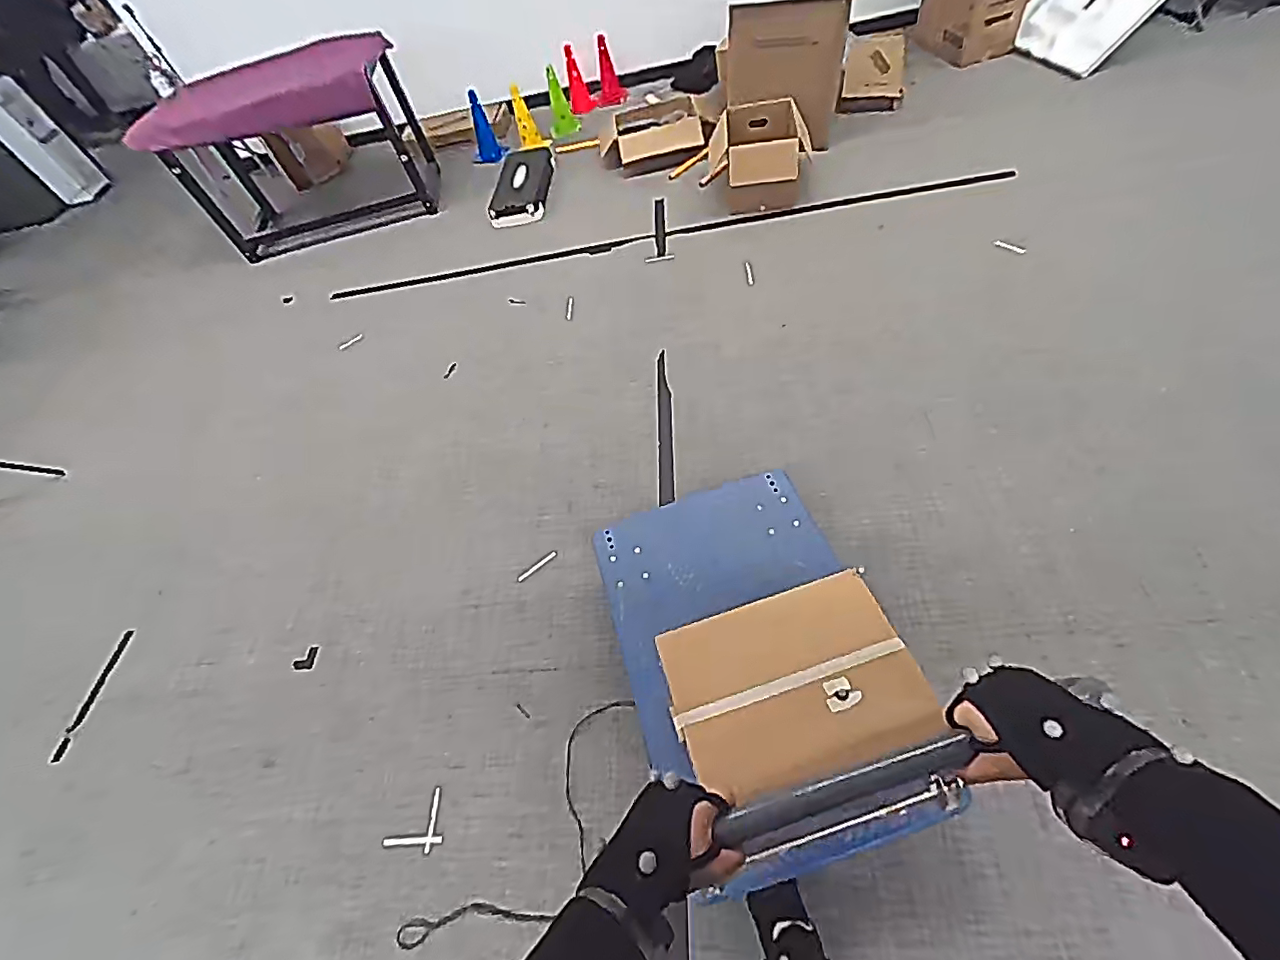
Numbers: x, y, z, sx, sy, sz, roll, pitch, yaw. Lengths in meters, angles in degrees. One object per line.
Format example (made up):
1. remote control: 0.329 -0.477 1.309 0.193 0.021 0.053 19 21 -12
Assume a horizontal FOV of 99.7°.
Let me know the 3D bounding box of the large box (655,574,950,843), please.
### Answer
1. large box: 0.277 0.441 1.030 0.408 0.320 0.320 -18 52 -2
